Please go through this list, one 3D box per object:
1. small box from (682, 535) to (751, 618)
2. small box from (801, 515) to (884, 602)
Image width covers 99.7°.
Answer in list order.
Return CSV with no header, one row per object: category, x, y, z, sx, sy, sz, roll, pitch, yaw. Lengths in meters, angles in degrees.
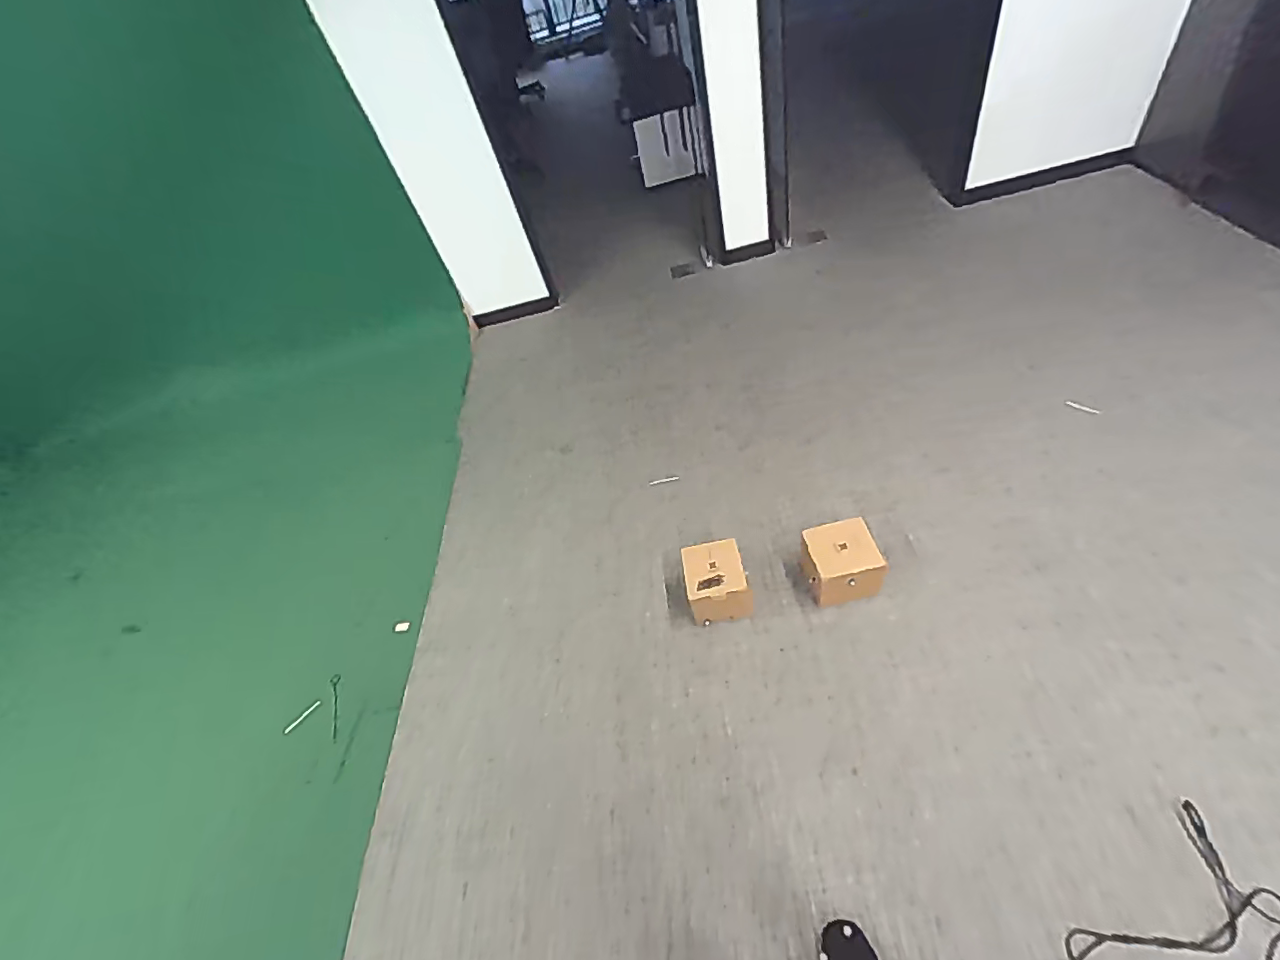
small box,0.227,0.293,1.592,0.168,0.176,0.179,-12,47,7
small box,0.572,0.229,1.541,0.179,0.176,0.168,-14,48,5
